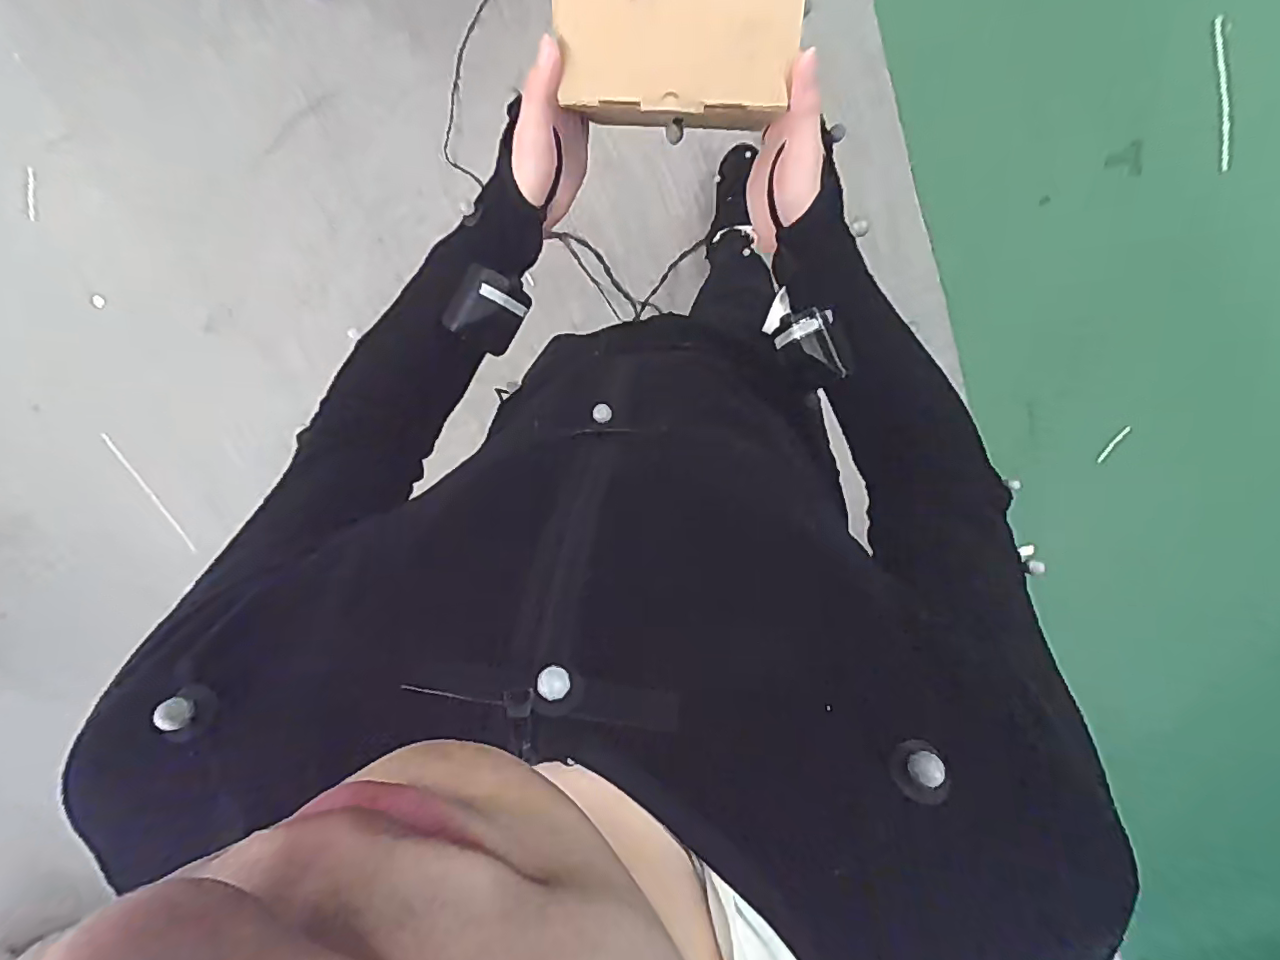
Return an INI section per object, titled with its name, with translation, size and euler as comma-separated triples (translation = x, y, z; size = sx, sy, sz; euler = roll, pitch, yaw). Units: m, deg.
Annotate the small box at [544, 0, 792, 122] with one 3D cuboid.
[small box]
translation = 0.027, -0.377, 0.404
size = 0.168, 0.176, 0.179
euler = 4, 120, 4
